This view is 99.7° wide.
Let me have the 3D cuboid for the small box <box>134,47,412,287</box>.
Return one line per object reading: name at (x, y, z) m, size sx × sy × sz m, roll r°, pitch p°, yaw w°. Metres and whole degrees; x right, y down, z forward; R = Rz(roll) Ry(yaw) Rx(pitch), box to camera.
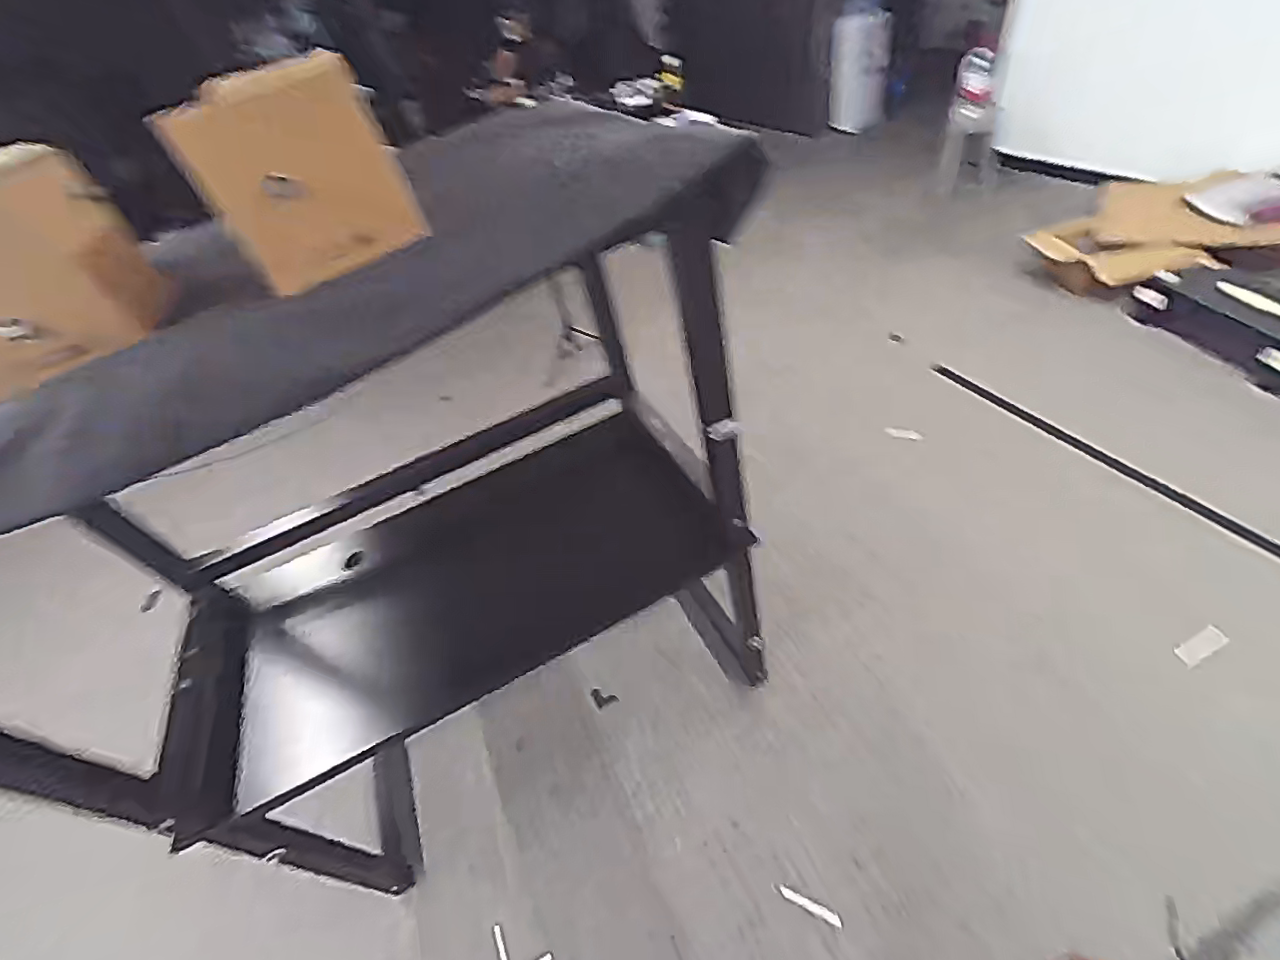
small box at (-0.363, -0.326, 0.570) m, size 0.168 × 0.176 × 0.179 m, roll -28°, pitch 43°, yaw -11°
